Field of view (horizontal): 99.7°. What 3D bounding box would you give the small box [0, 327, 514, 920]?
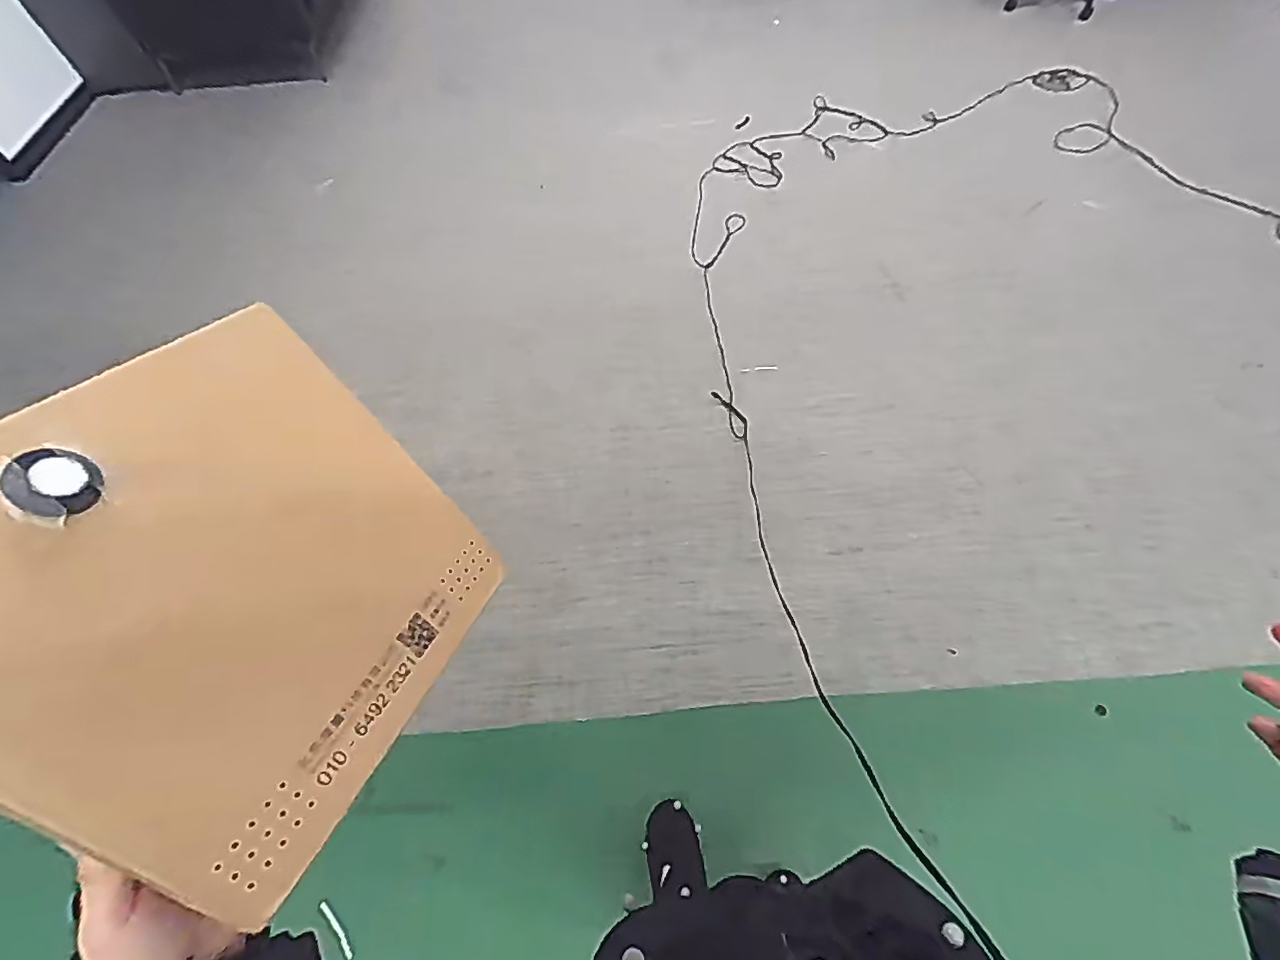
[{"bbox_3d":[-0.198,0.067,0.255,0.179,0.176,0.168,-19,29,35],"label":"small box"}]
